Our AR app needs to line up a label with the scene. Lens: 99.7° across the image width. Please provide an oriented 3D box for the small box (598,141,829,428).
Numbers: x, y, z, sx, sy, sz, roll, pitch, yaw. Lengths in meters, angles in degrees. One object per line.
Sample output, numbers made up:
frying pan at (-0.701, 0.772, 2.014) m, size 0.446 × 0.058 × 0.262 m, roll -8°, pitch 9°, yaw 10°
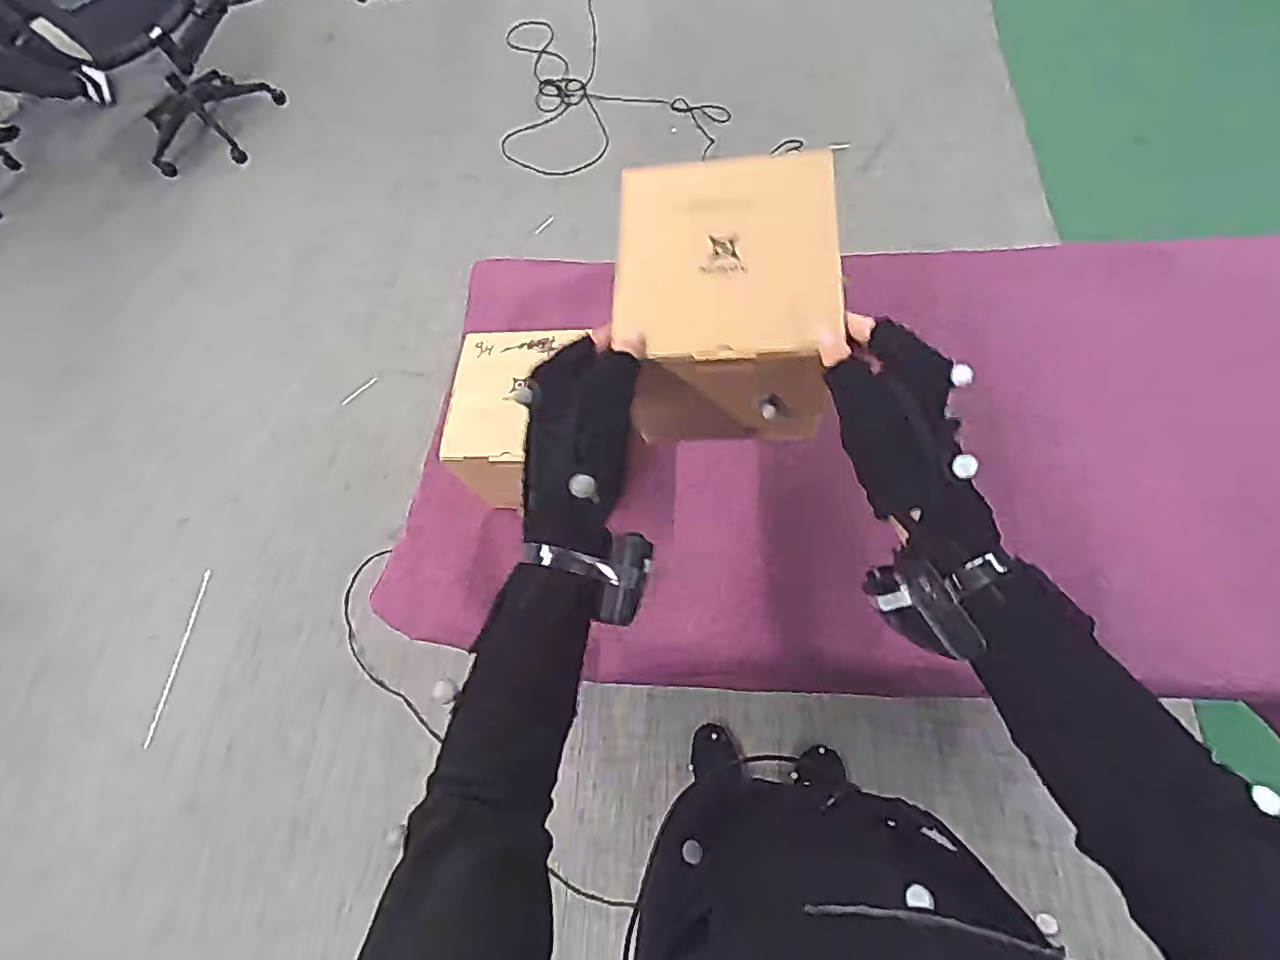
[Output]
small box at (0.067, -0.151, 0.476) m, size 0.168 × 0.176 × 0.179 m, roll 0°, pitch 74°, yaw 10°

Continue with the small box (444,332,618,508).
small box at (-0.127, -0.069, 0.707) m, size 0.168 × 0.176 × 0.179 m, roll 1°, pitch 67°, yaw 9°
